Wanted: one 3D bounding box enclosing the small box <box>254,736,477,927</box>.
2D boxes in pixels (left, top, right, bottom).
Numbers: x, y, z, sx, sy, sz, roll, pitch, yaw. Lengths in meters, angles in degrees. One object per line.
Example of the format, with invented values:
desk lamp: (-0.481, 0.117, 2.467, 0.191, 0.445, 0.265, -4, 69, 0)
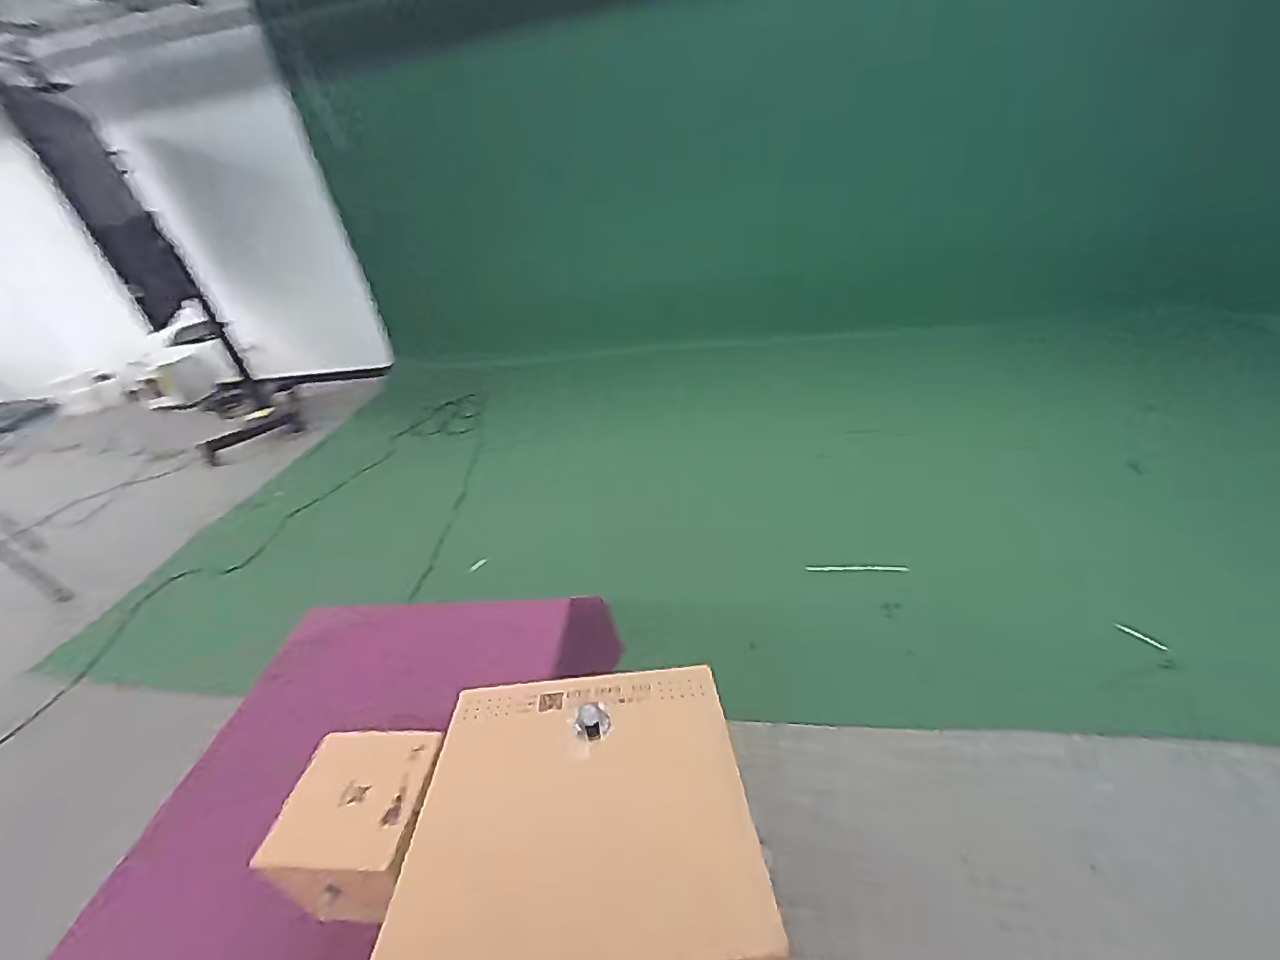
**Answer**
small box: (-0.347, 0.467, 0.722, 0.179, 0.176, 0.168, -5, 34, 9)
